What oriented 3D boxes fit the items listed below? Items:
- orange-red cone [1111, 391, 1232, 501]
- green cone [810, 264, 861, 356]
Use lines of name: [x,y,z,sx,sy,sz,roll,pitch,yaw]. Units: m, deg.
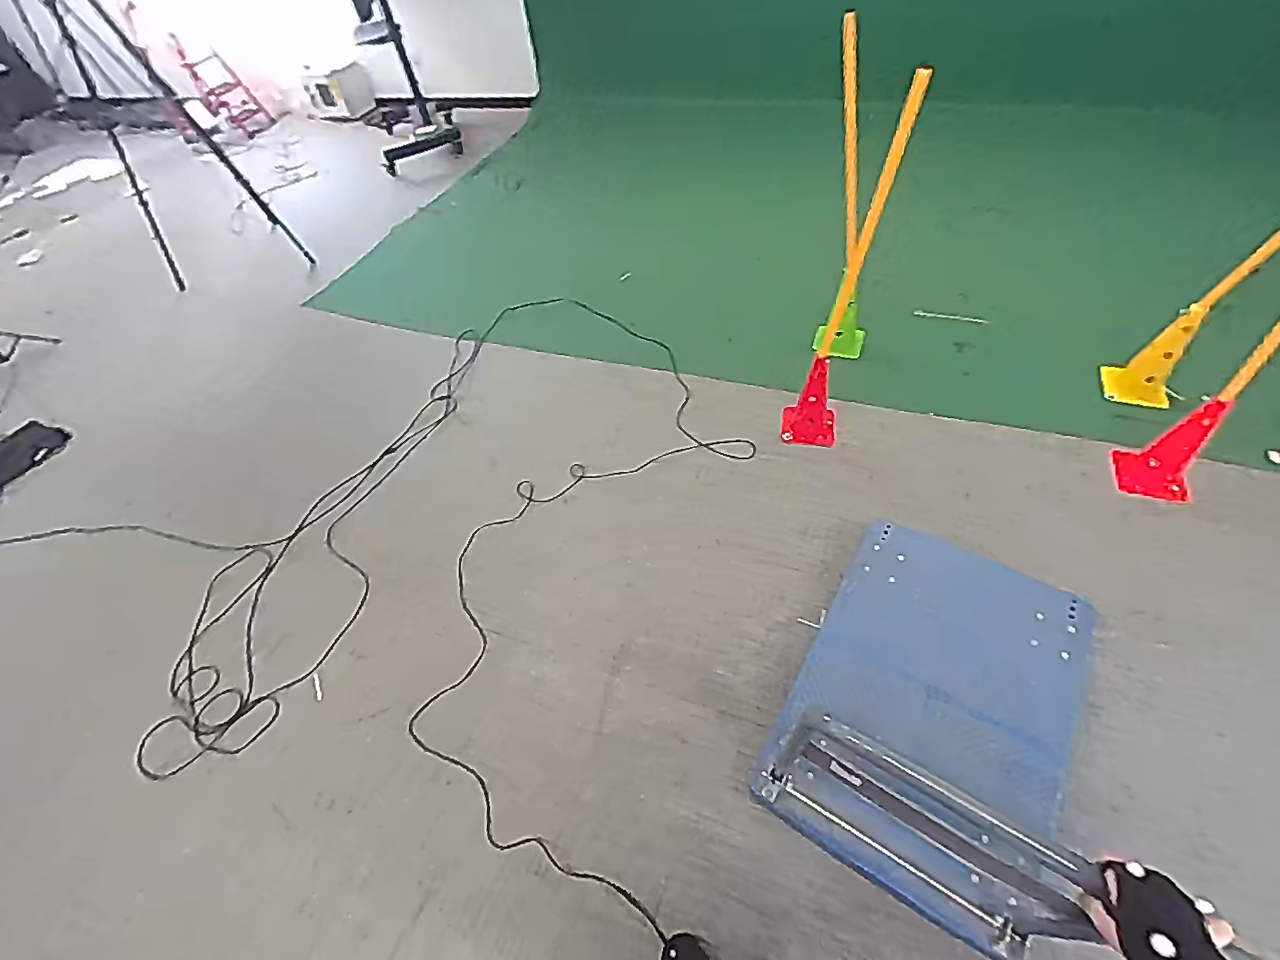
orange-red cone: [1.693,-0.132,1.688,0.198,0.360,0.199,13,53,17]
green cone: [0.853,-0.732,2.280,0.200,0.368,0.202,12,53,18]
